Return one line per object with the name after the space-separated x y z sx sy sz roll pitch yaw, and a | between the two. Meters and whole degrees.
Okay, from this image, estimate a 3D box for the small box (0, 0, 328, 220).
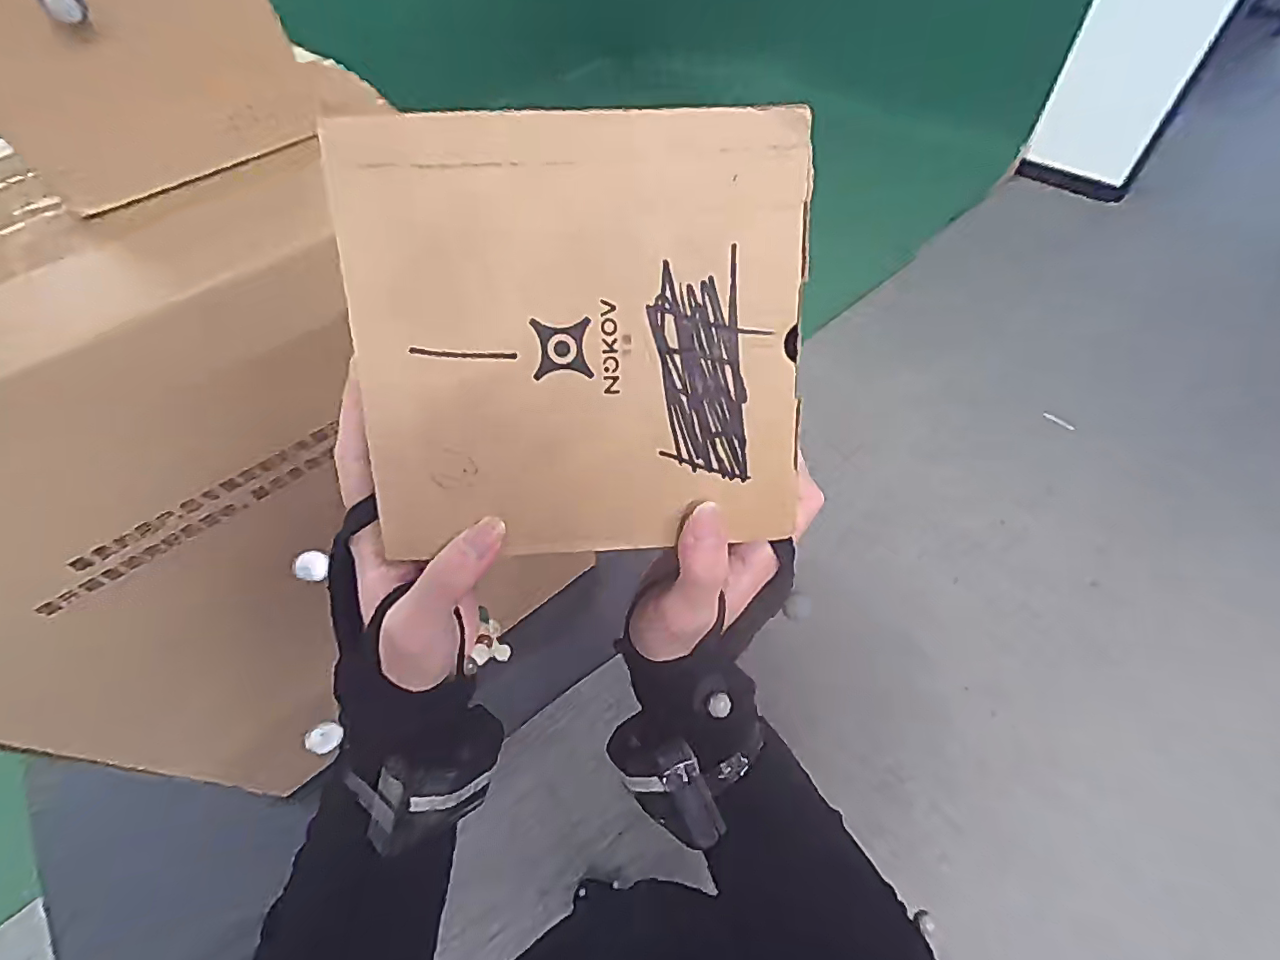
-0.354 -0.307 0.355 0.179 0.176 0.168 -35 63 -17 | small box

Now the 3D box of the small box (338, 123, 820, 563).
-0.022 -0.066 0.289 0.179 0.168 0.176 -3 13 -2 | small box
